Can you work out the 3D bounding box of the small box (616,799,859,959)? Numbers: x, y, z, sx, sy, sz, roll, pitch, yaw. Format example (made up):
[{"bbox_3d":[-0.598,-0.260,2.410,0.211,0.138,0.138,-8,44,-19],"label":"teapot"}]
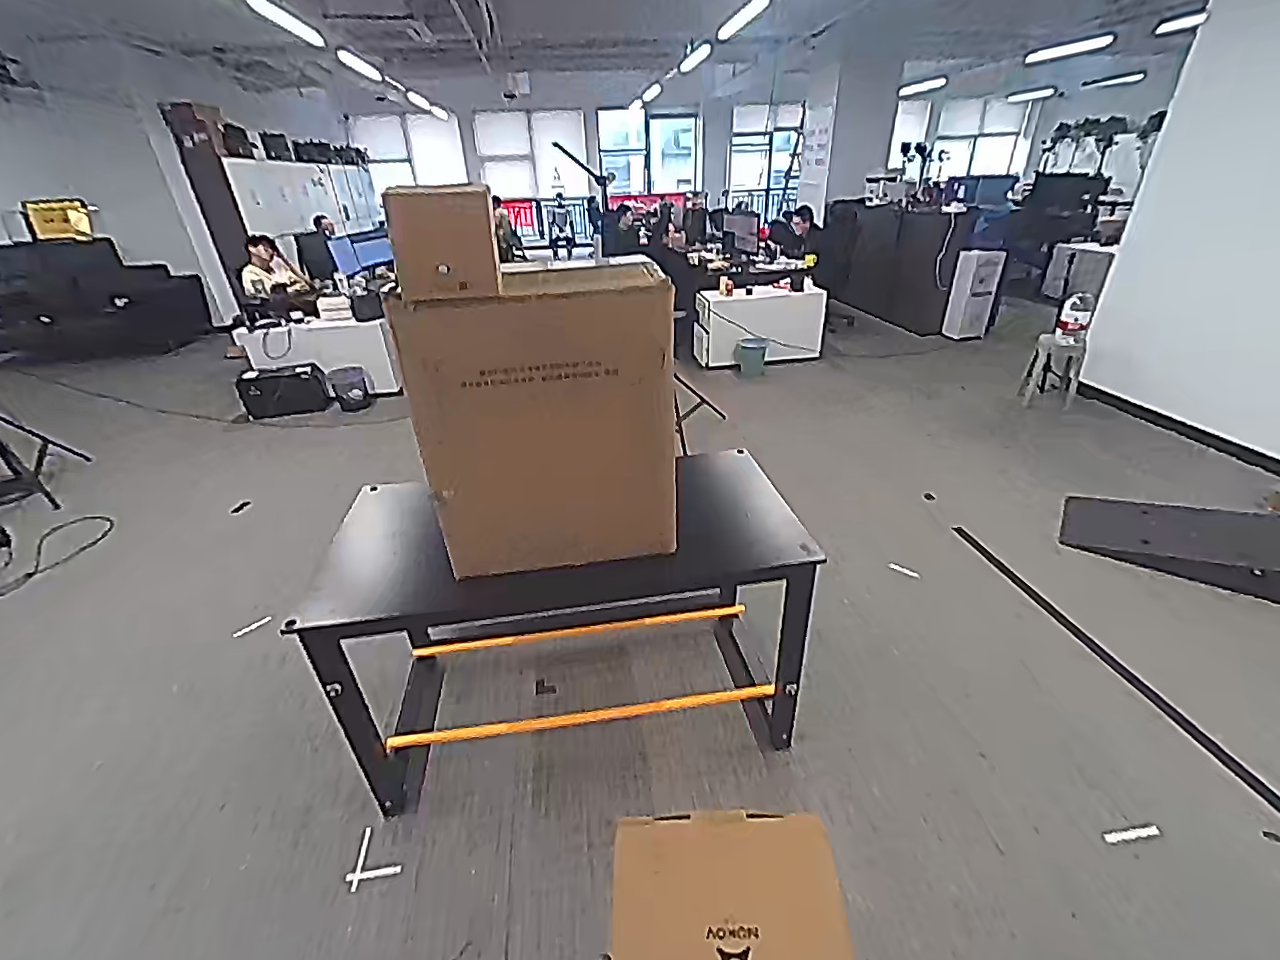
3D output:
[{"bbox_3d":[0.065,0.374,0.420,0.168,0.176,0.179,-1,41,0],"label":"small box"}]

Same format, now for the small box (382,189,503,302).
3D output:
[{"bbox_3d":[-0.341,-0.423,0.970,0.168,0.176,0.179,-7,33,-10],"label":"small box"}]
